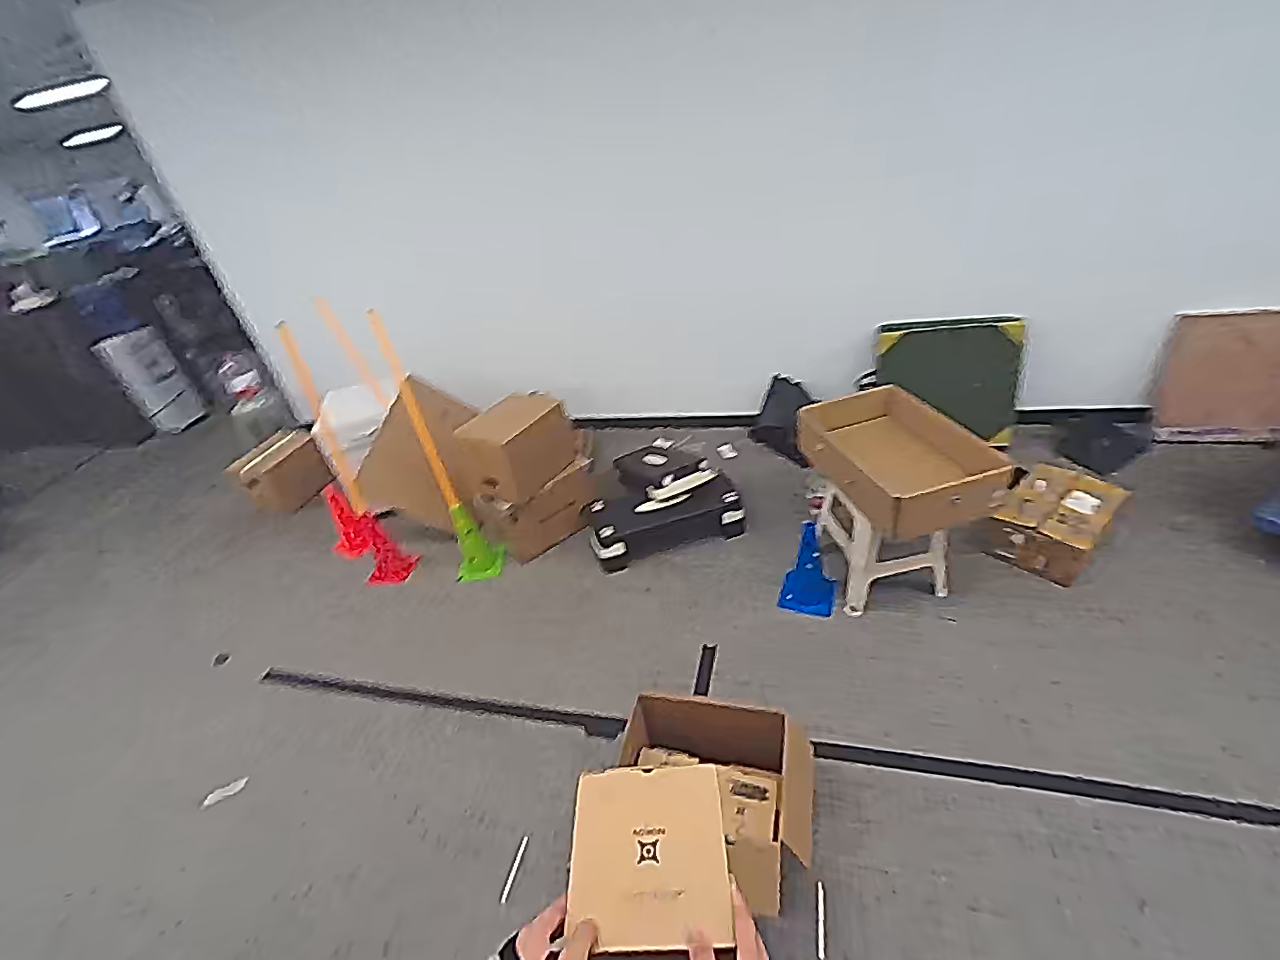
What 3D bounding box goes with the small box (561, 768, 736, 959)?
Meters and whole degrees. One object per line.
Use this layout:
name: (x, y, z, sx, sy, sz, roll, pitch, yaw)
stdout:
small box: (0.015, 0.460, 0.613, 0.168, 0.176, 0.179, -4, 30, 3)
